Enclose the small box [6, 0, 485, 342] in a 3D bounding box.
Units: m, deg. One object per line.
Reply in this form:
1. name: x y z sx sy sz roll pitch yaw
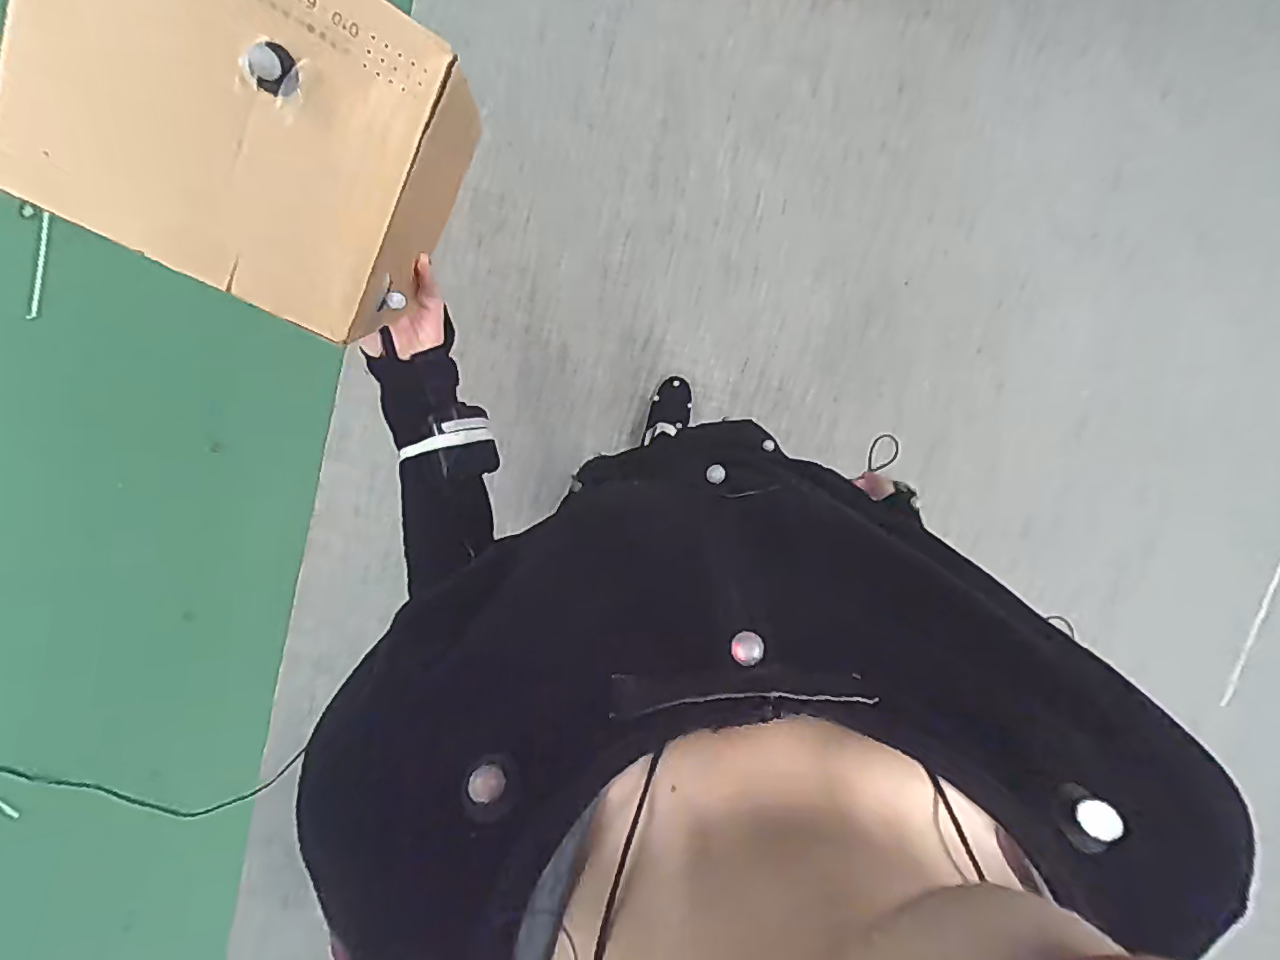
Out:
1. small box: -0.210 -0.213 0.341 0.168 0.179 0.176 25 106 -19
